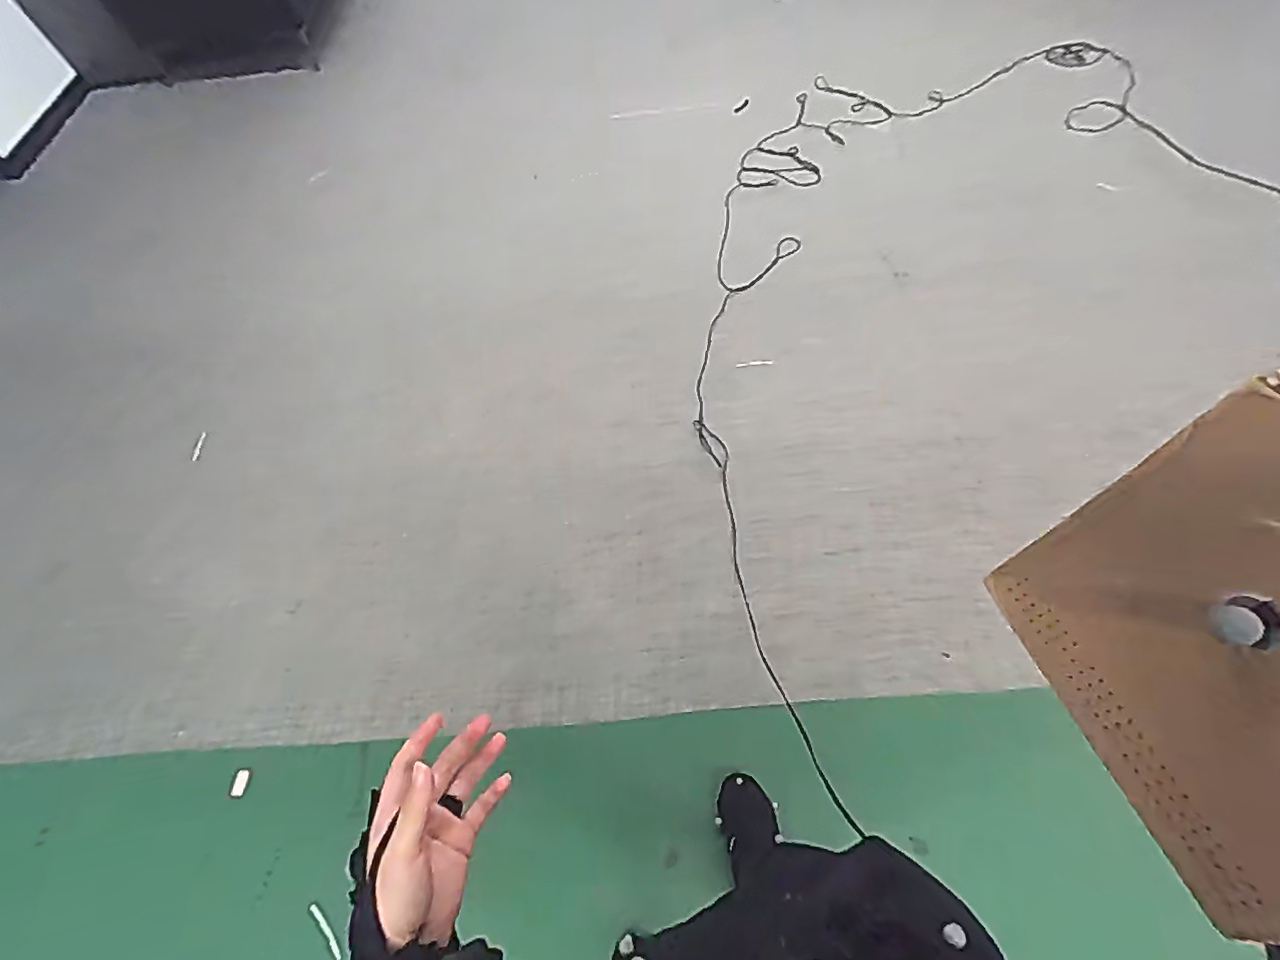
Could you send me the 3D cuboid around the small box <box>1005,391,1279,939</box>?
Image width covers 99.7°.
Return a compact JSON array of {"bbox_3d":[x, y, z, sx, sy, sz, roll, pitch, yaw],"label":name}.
[{"bbox_3d":[0.324,0.076,0.244,0.168,0.176,0.179,-6,52,-15],"label":"small box"}]
